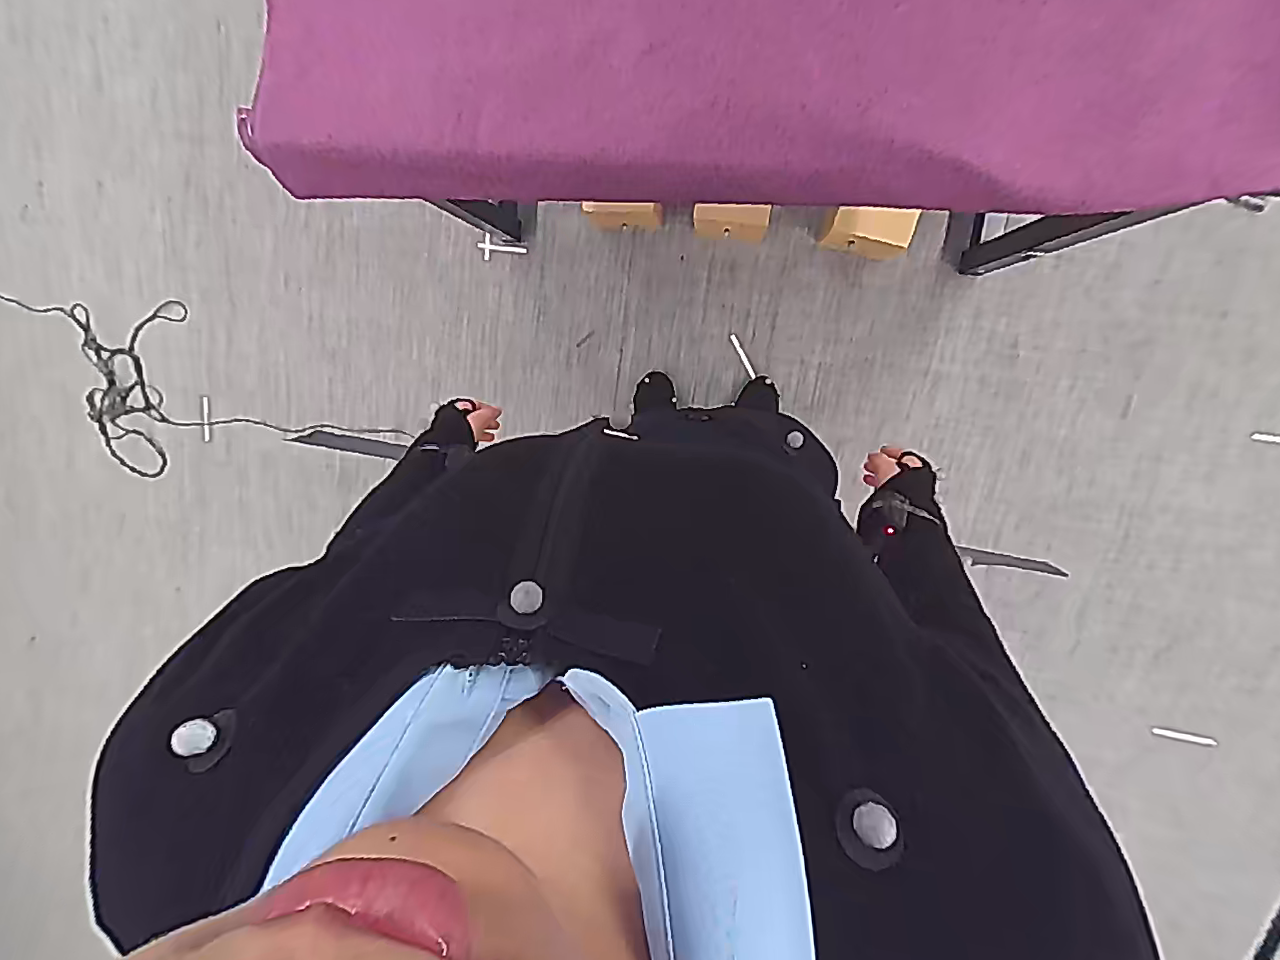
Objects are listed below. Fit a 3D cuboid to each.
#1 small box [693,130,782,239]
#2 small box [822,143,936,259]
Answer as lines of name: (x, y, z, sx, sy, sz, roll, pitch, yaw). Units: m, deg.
small box: (0.220, -0.668, 1.243, 0.168, 0.176, 0.179, 10, 103, 5)
small box: (0.523, -0.614, 1.213, 0.168, 0.176, 0.179, 17, 104, 5)
